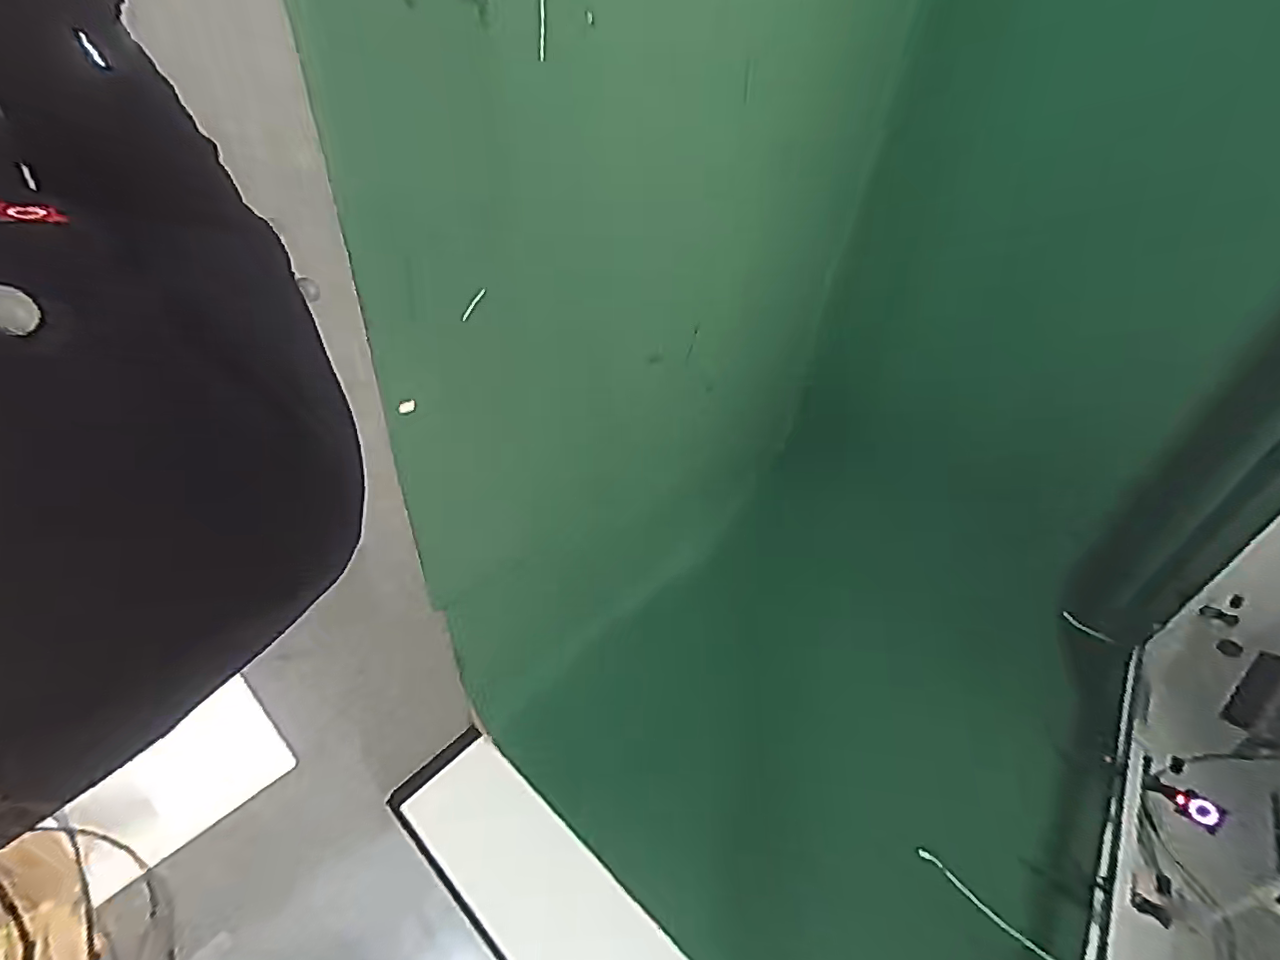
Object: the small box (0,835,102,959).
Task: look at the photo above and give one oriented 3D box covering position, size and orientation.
[{"bbox_3d":[-0.873,0.627,0.721,0.168,0.176,0.179,-30,137,-43],"label":"small box"}]
